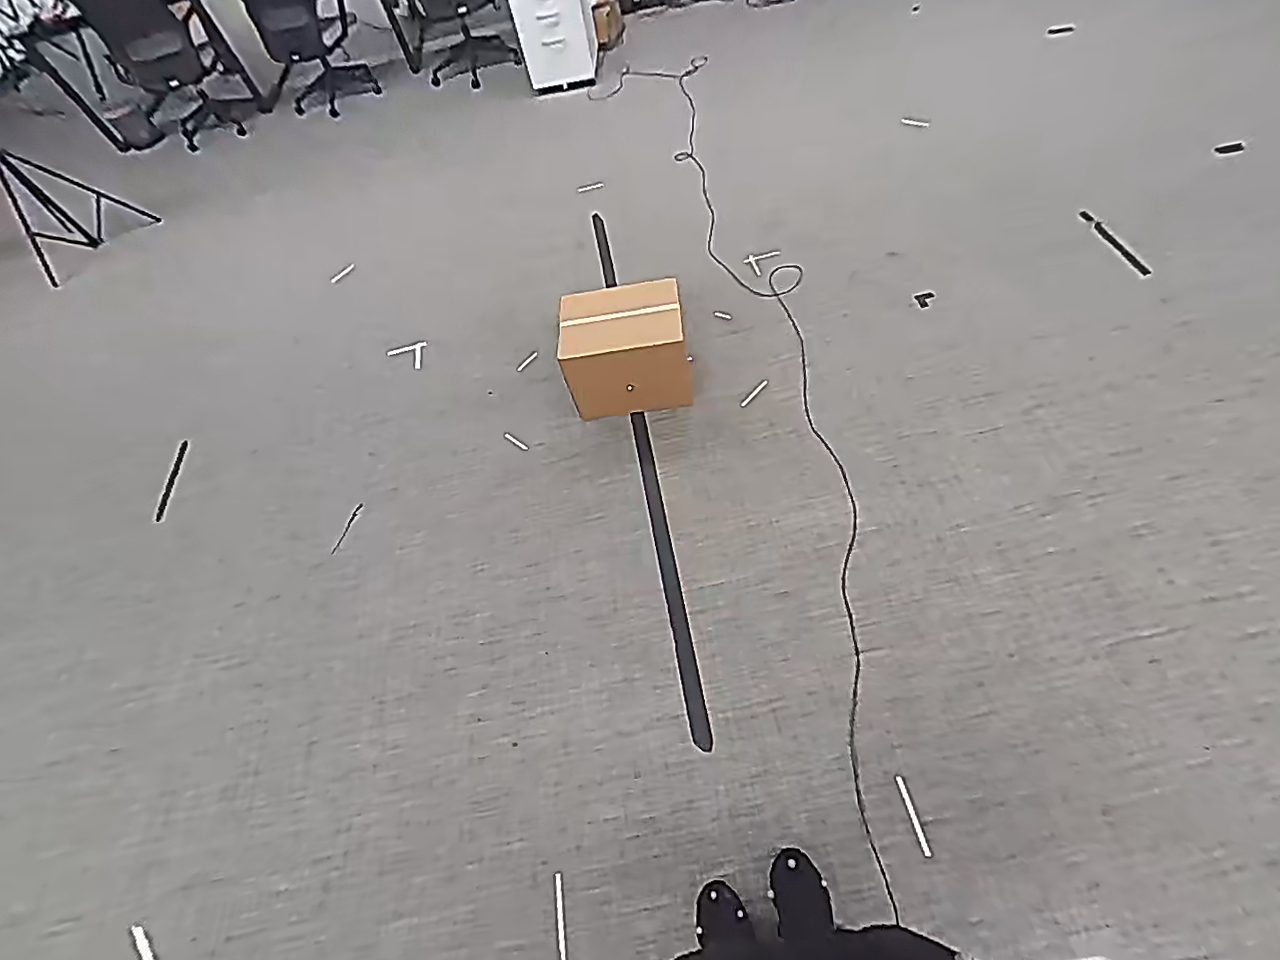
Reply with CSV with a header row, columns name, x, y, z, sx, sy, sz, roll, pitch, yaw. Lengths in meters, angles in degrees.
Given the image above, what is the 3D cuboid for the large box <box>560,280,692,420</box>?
name,x,y,z,sx,sy,sz,roll,pitch,yaw
large box,-0.043,-0.442,1.884,0.408,0.320,0.320,-7,57,6
